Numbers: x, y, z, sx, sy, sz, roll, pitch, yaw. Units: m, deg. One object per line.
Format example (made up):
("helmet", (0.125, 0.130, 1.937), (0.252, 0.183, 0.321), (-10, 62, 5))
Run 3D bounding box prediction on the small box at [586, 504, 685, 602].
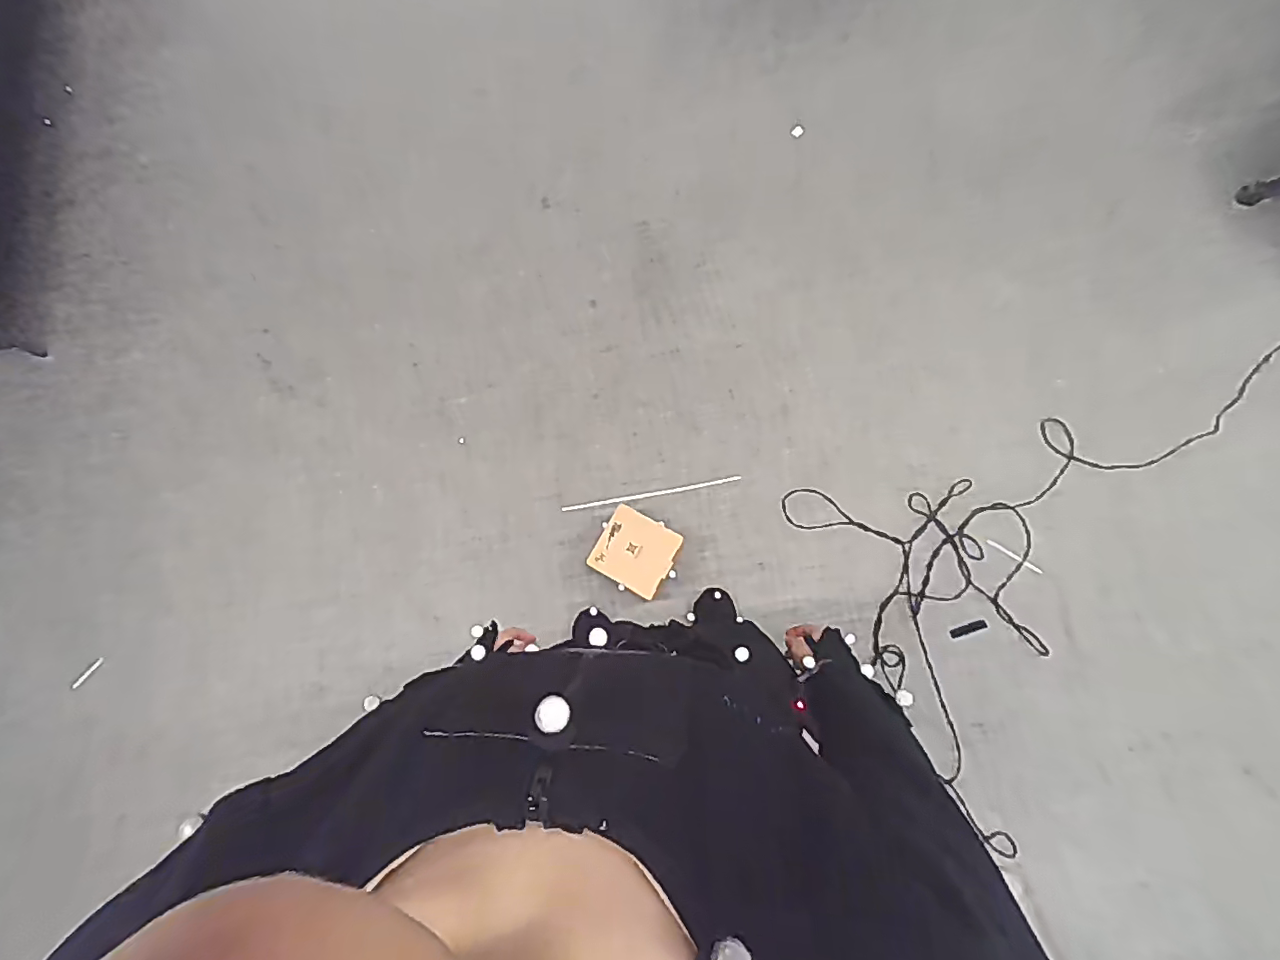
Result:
("small box", (-0.005, 0.178, 1.309), (0.179, 0.176, 0.168), (29, 81, 10))
